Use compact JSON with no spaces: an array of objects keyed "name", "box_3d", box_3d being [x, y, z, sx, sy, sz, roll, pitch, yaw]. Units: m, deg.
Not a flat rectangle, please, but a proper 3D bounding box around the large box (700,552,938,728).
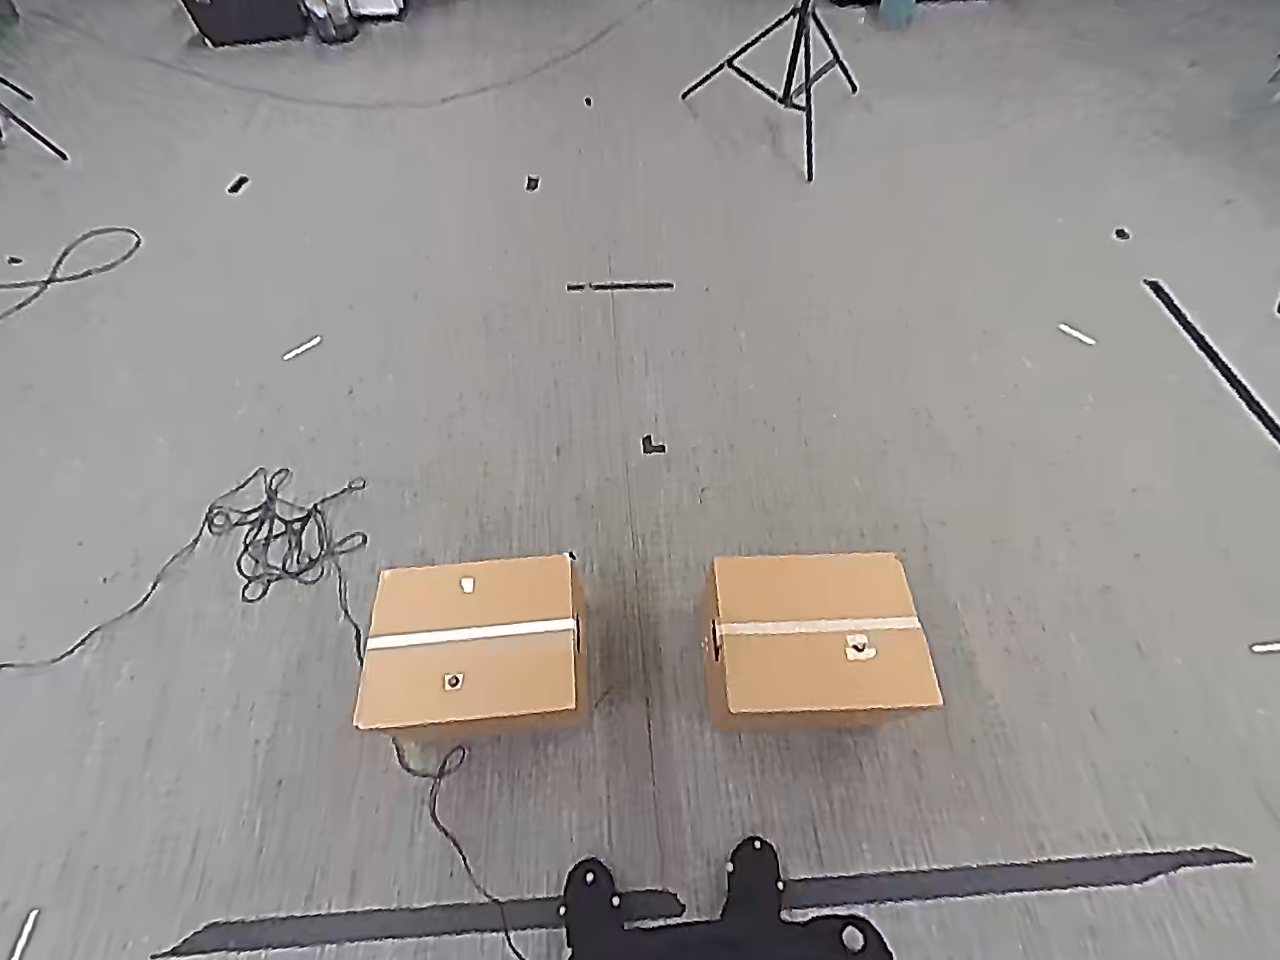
[{"name":"large box","box_3d":[0.362,0.370,1.223,0.408,0.320,0.320,-1,60,-1]}]
